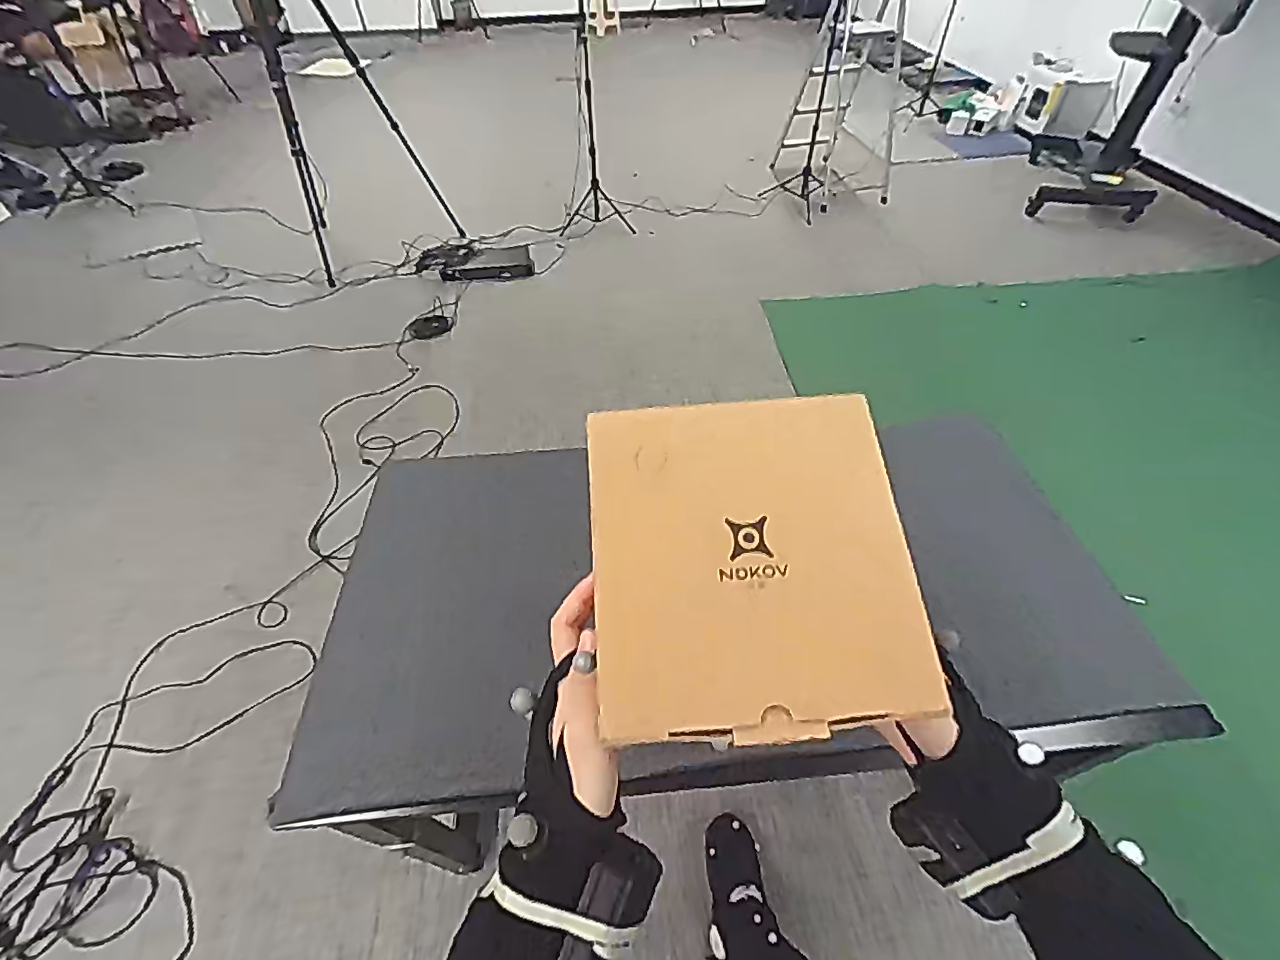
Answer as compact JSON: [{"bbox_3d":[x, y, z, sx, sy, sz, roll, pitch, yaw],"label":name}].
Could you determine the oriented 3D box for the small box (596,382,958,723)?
[{"bbox_3d":[0.060,0.059,0.354,0.168,0.176,0.179,-5,67,-2],"label":"small box"}]
